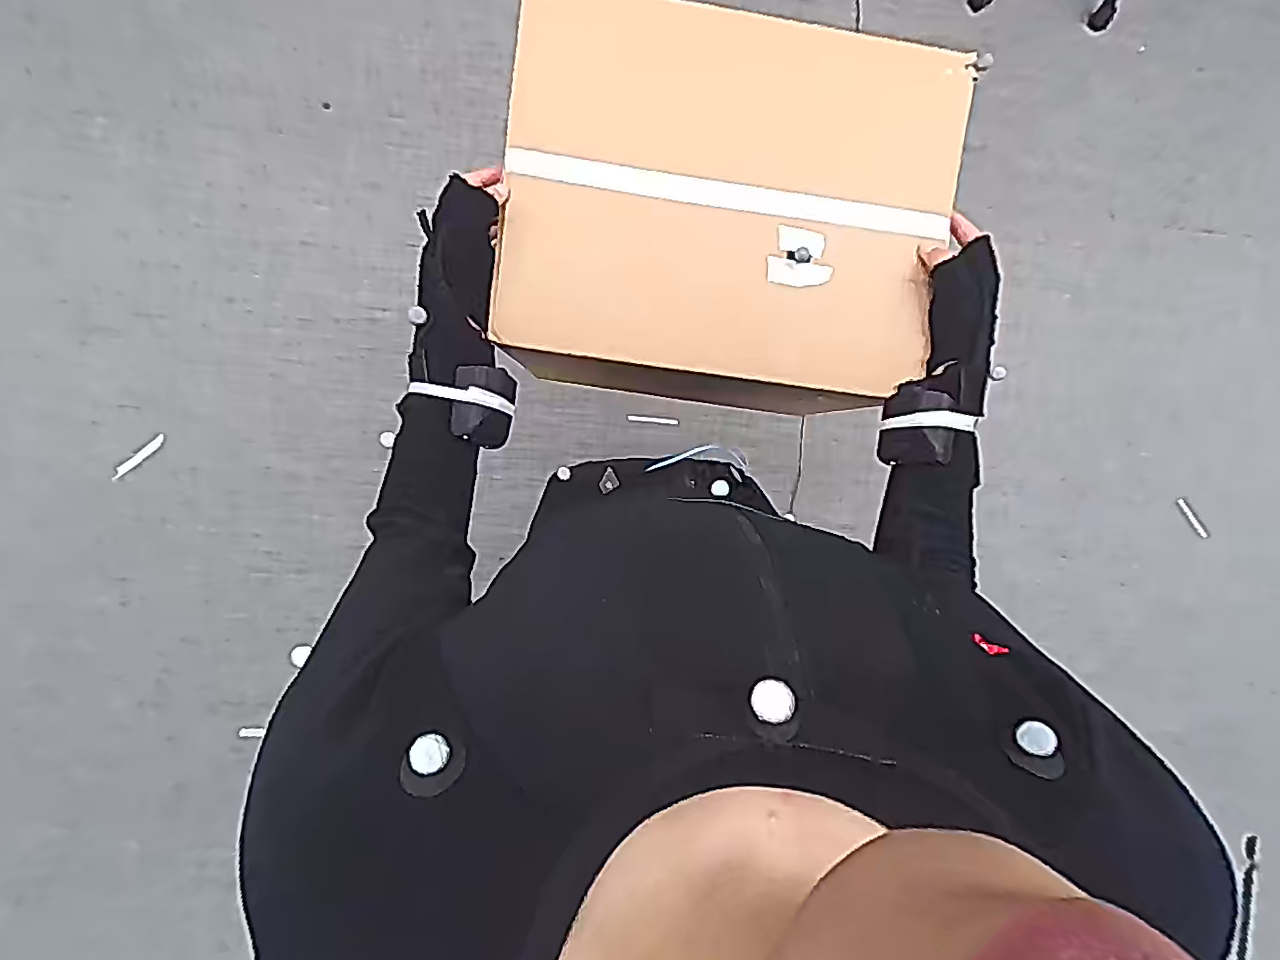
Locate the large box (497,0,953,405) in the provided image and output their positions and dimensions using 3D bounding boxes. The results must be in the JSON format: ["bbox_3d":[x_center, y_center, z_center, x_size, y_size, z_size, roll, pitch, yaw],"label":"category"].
[{"bbox_3d":[0.069,-0.273,0.649,0.408,0.320,0.320,7,95,-5],"label":"large box"}]
